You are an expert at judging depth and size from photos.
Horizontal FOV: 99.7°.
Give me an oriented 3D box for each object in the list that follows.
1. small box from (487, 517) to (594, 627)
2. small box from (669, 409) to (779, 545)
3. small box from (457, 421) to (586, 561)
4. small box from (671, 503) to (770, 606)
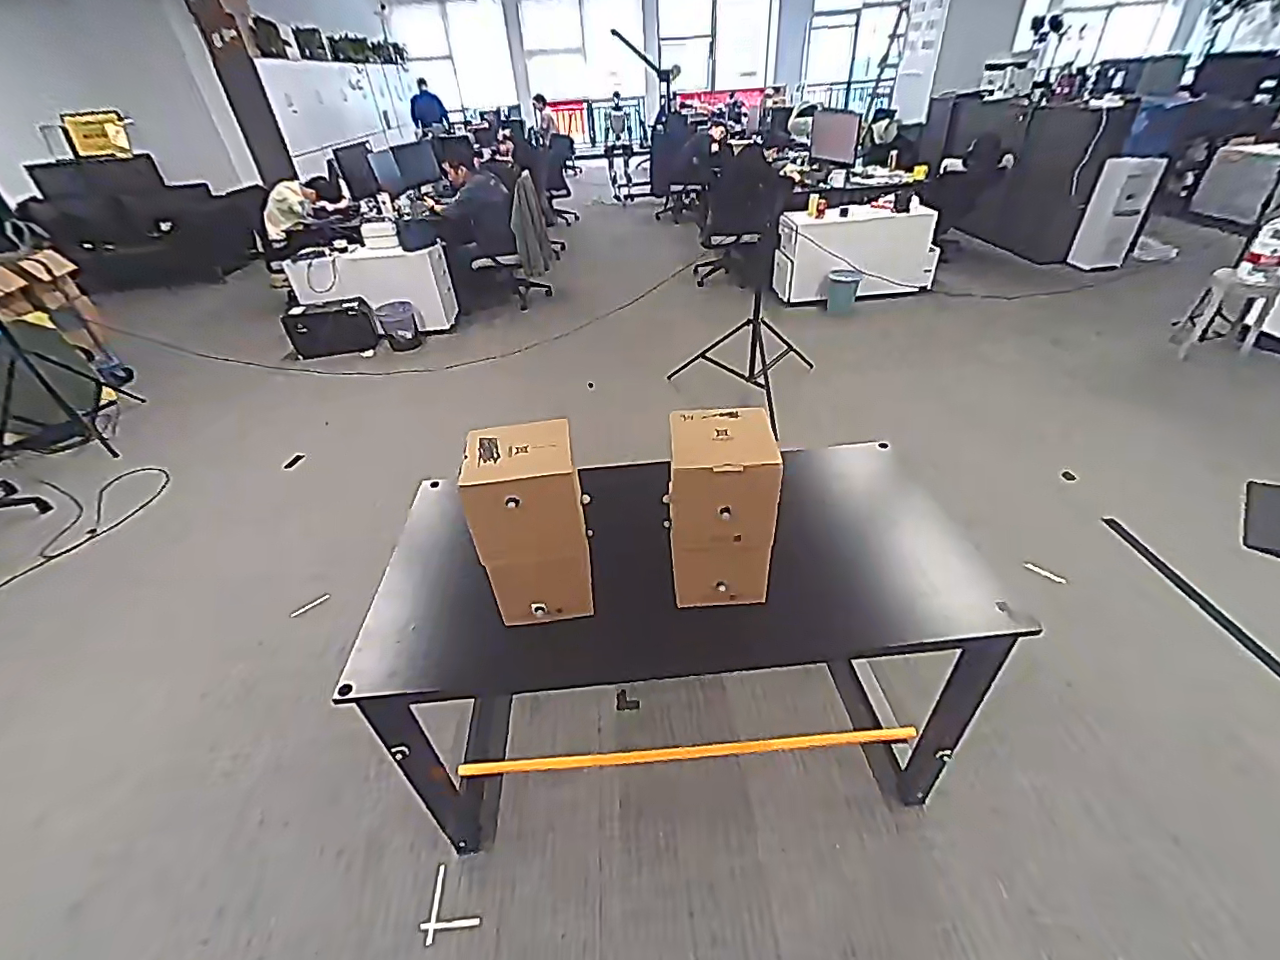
[{"bbox_3d":[-0.182,0.150,1.024,0.168,0.176,0.179,-8,38,-4],"label":"small box"},{"bbox_3d":[0.135,-0.001,0.918,0.168,0.176,0.179,-2,38,3],"label":"small box"},{"bbox_3d":[-0.193,0.021,0.922,0.179,0.176,0.168,-8,37,-5],"label":"small box"},{"bbox_3d":[0.143,0.118,1.031,0.168,0.176,0.179,-3,37,2],"label":"small box"}]
